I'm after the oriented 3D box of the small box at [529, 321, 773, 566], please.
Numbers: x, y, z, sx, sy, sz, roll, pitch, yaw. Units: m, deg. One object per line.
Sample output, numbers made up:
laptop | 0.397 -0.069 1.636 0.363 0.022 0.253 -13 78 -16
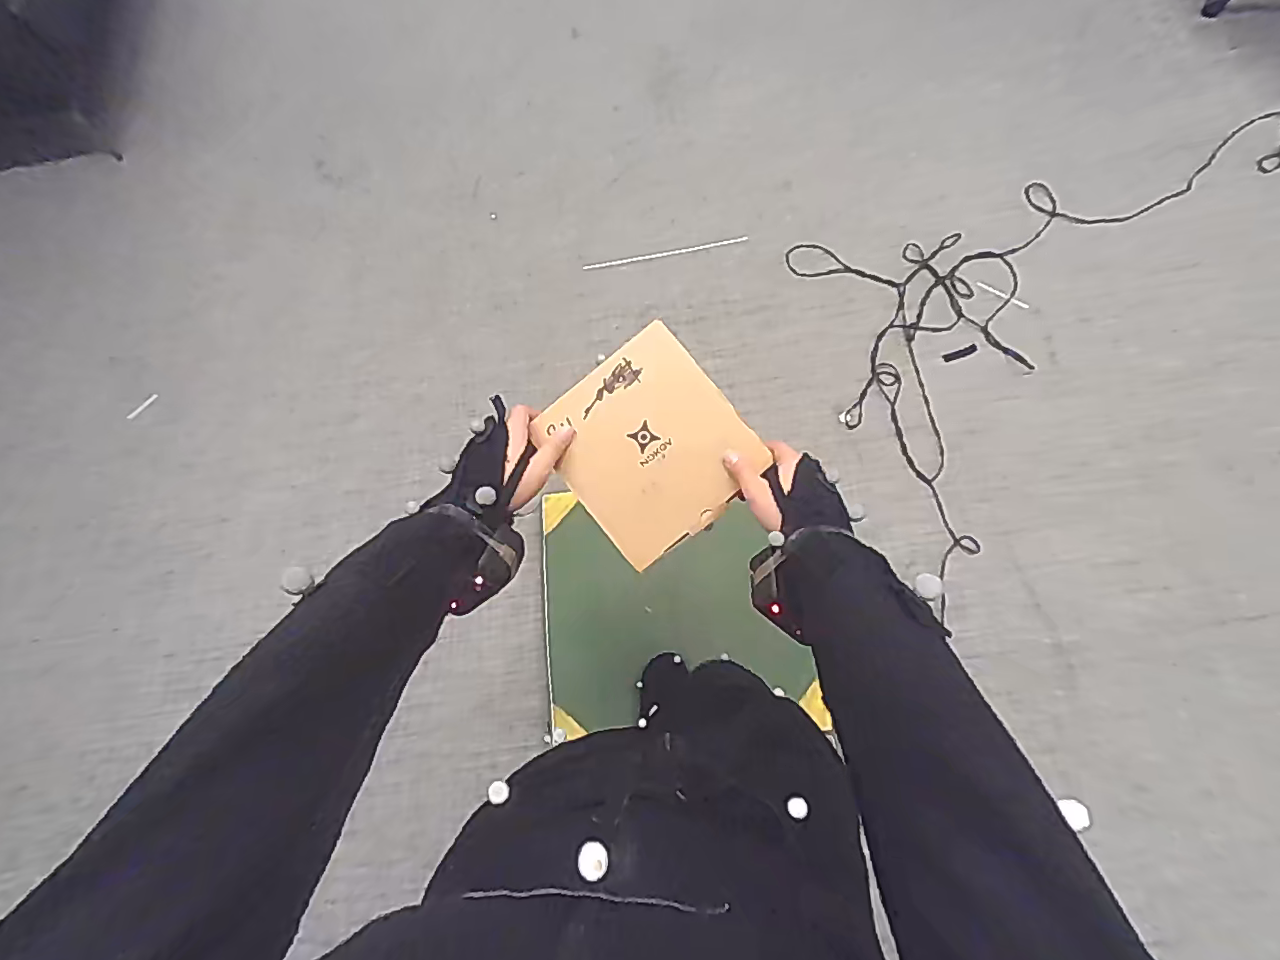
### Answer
small box | 0.013 -0.033 0.585 0.168 0.176 0.179 -39 86 0
